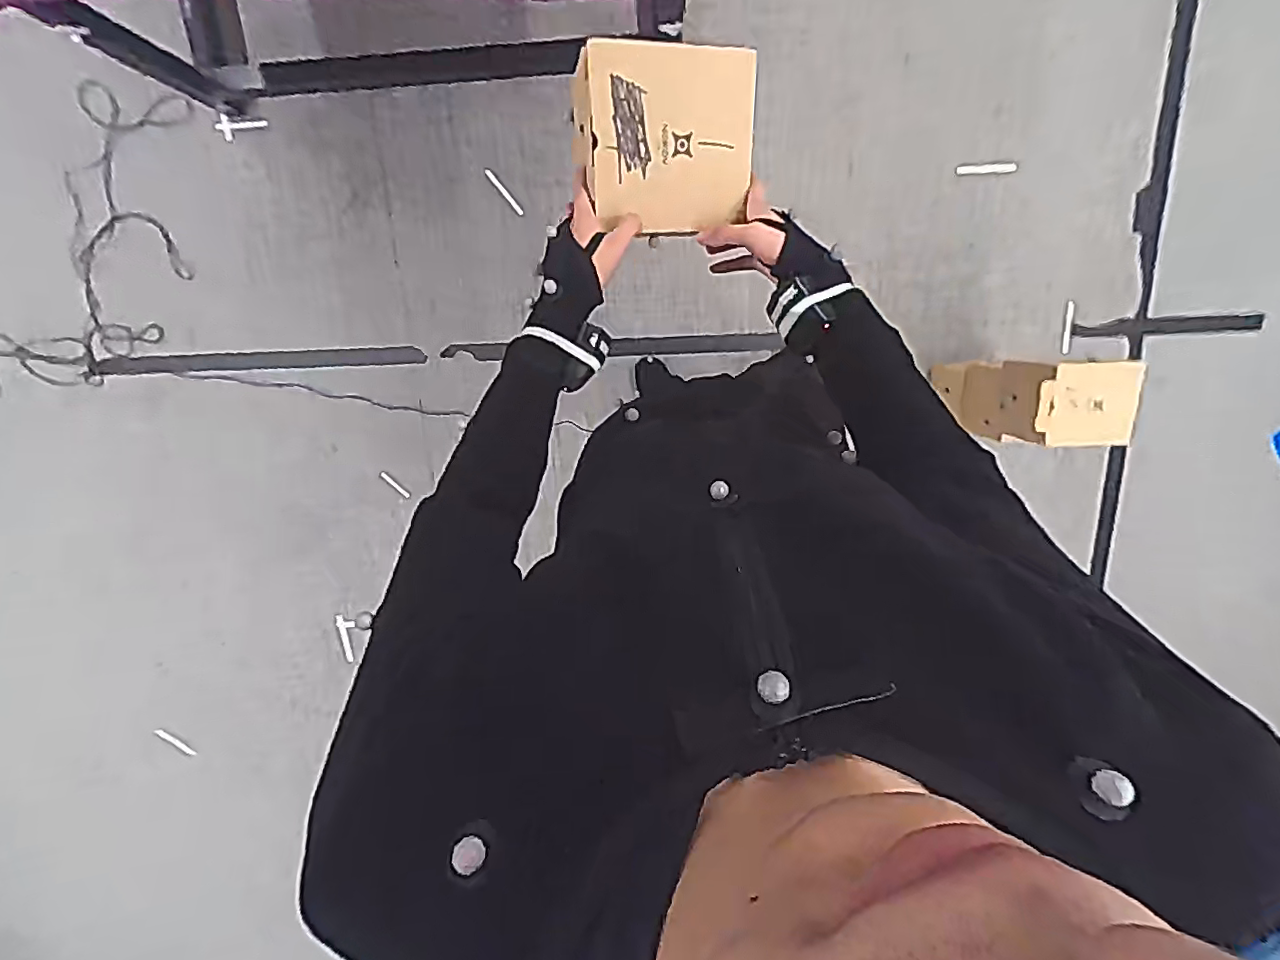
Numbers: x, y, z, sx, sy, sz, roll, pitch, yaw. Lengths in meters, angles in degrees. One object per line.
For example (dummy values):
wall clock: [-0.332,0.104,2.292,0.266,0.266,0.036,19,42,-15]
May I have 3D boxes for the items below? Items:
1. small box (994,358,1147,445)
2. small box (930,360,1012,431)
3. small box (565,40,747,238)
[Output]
small box: [0.904,-0.172,1.151,0.179,0.176,0.168,-1,105,2]
small box: [0.919,-0.235,1.476,0.179,0.176,0.168,-6,105,2]
small box: [0.009,-0.372,0.618,0.179,0.176,0.168,-7,114,-9]
